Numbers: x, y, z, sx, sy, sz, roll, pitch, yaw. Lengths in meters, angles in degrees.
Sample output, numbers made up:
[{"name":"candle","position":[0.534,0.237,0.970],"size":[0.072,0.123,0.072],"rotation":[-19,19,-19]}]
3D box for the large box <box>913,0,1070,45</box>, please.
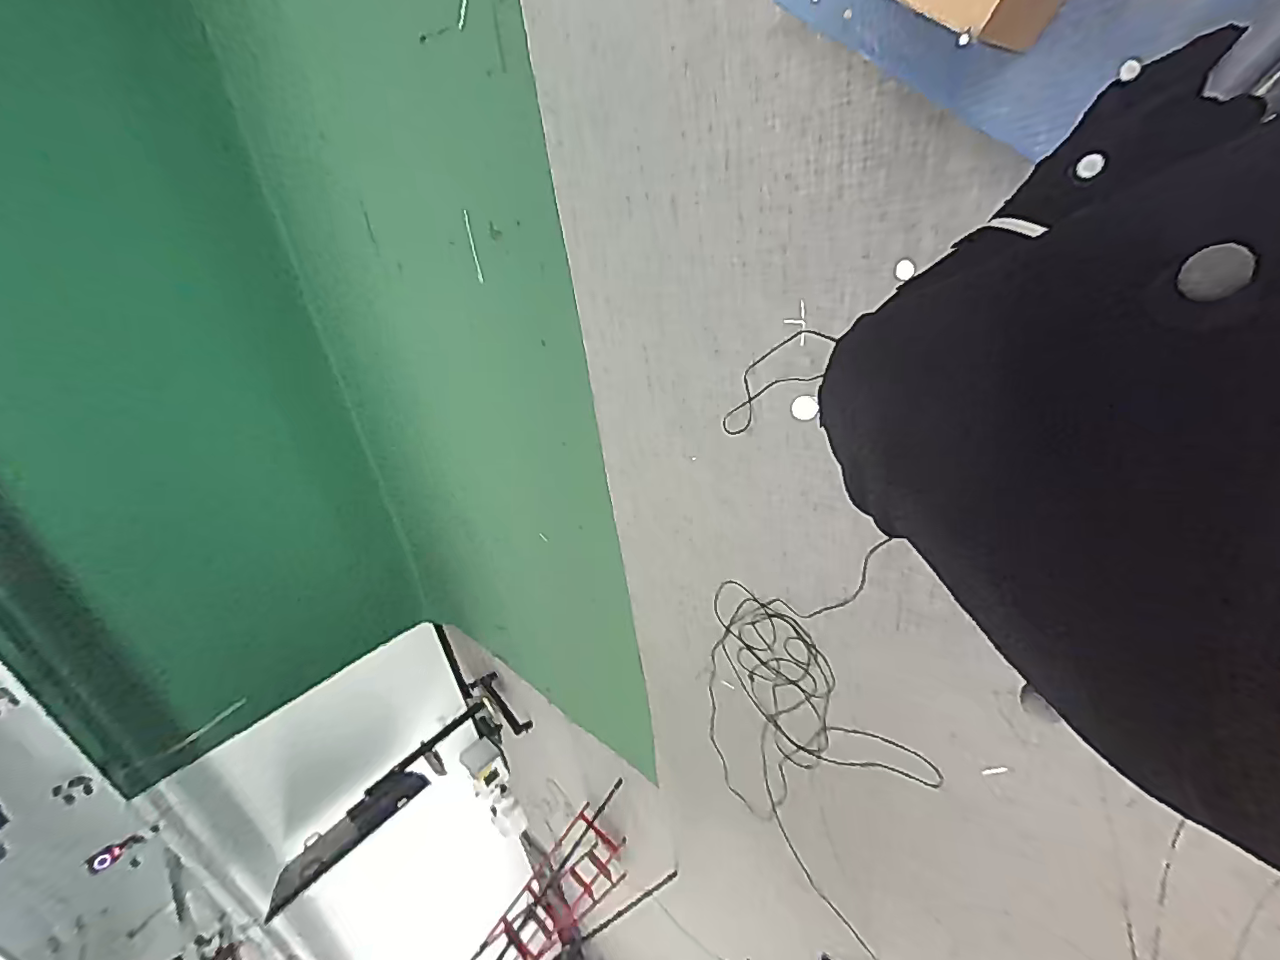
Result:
[{"name":"large box","position":[0.519,-0.882,0.711],"size":[0.320,0.320,0.408],"rotation":[44,141,17]}]
